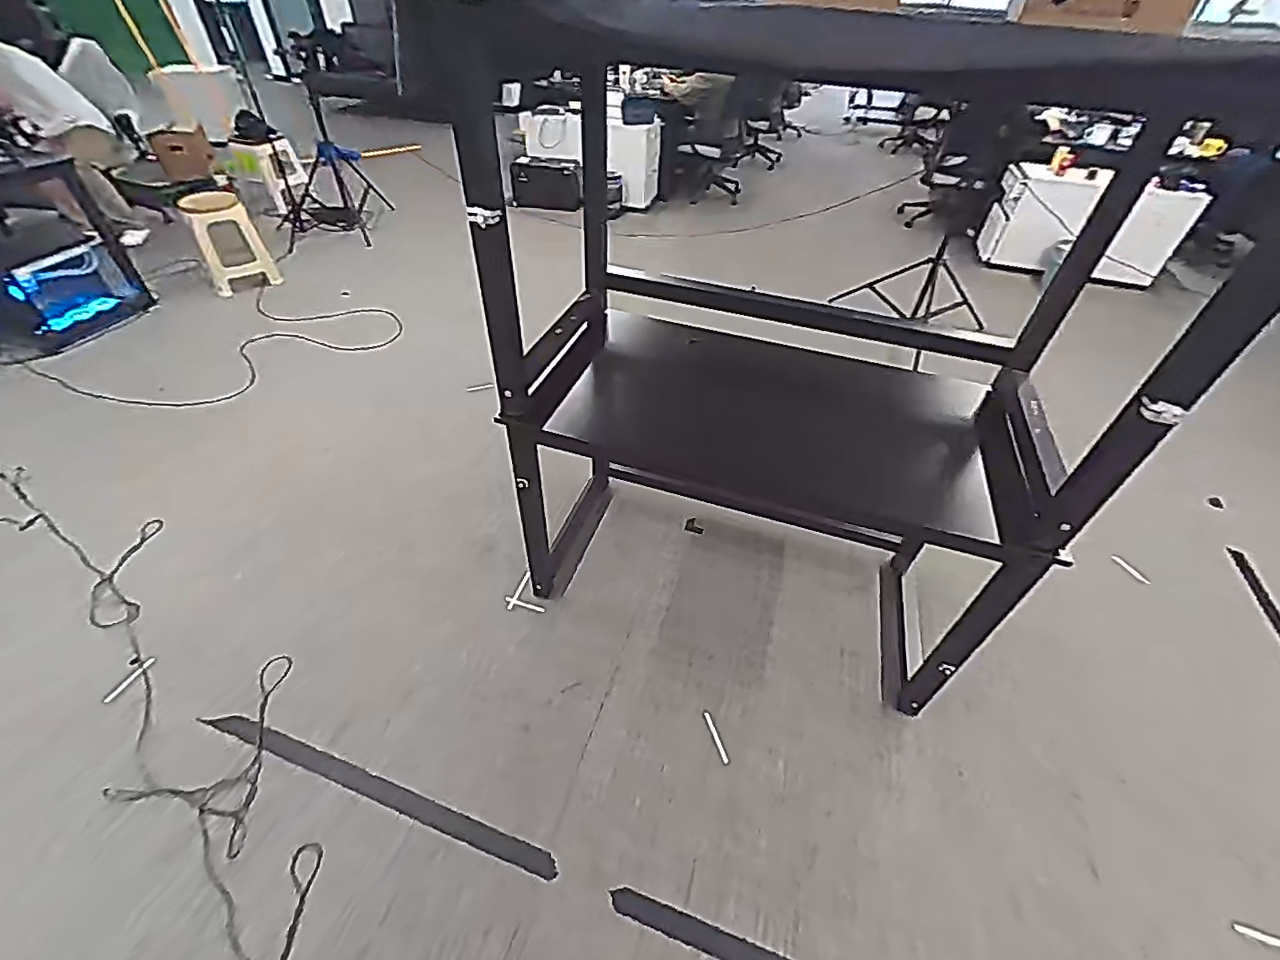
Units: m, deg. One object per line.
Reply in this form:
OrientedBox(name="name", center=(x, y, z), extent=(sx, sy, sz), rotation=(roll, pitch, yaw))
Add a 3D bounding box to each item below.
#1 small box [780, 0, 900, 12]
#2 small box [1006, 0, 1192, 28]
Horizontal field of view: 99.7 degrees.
OrientedBox(name="small box", center=(0.260, -0.694, 0.663), extent=(0.168, 0.176, 0.179), rotation=(15, 43, 13))
OrientedBox(name="small box", center=(0.545, -0.622, 0.608), extent=(0.168, 0.176, 0.179), rotation=(17, 44, 15))
